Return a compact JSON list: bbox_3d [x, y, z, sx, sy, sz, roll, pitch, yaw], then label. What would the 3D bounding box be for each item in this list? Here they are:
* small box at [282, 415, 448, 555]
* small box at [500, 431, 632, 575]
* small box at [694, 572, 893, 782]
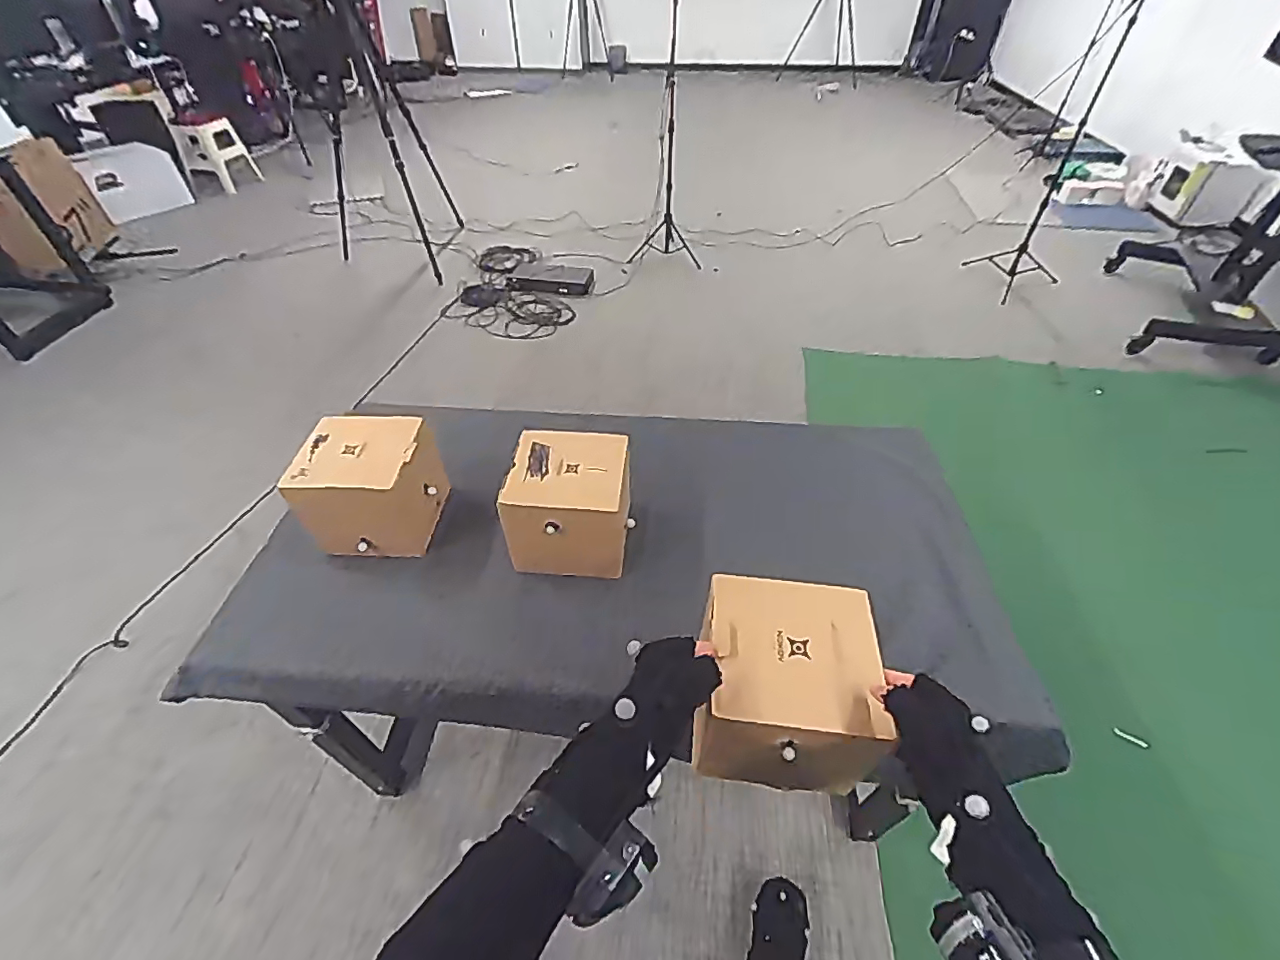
[{"bbox_3d":[-0.441,0.011,0.906,0.179,0.176,0.168,2,46,1],"label":"small box"},{"bbox_3d":[-0.108,0.040,0.880,0.179,0.176,0.168,4,46,3],"label":"small box"},{"bbox_3d":[0.158,0.228,0.622,0.179,0.176,0.168,6,45,2],"label":"small box"}]
